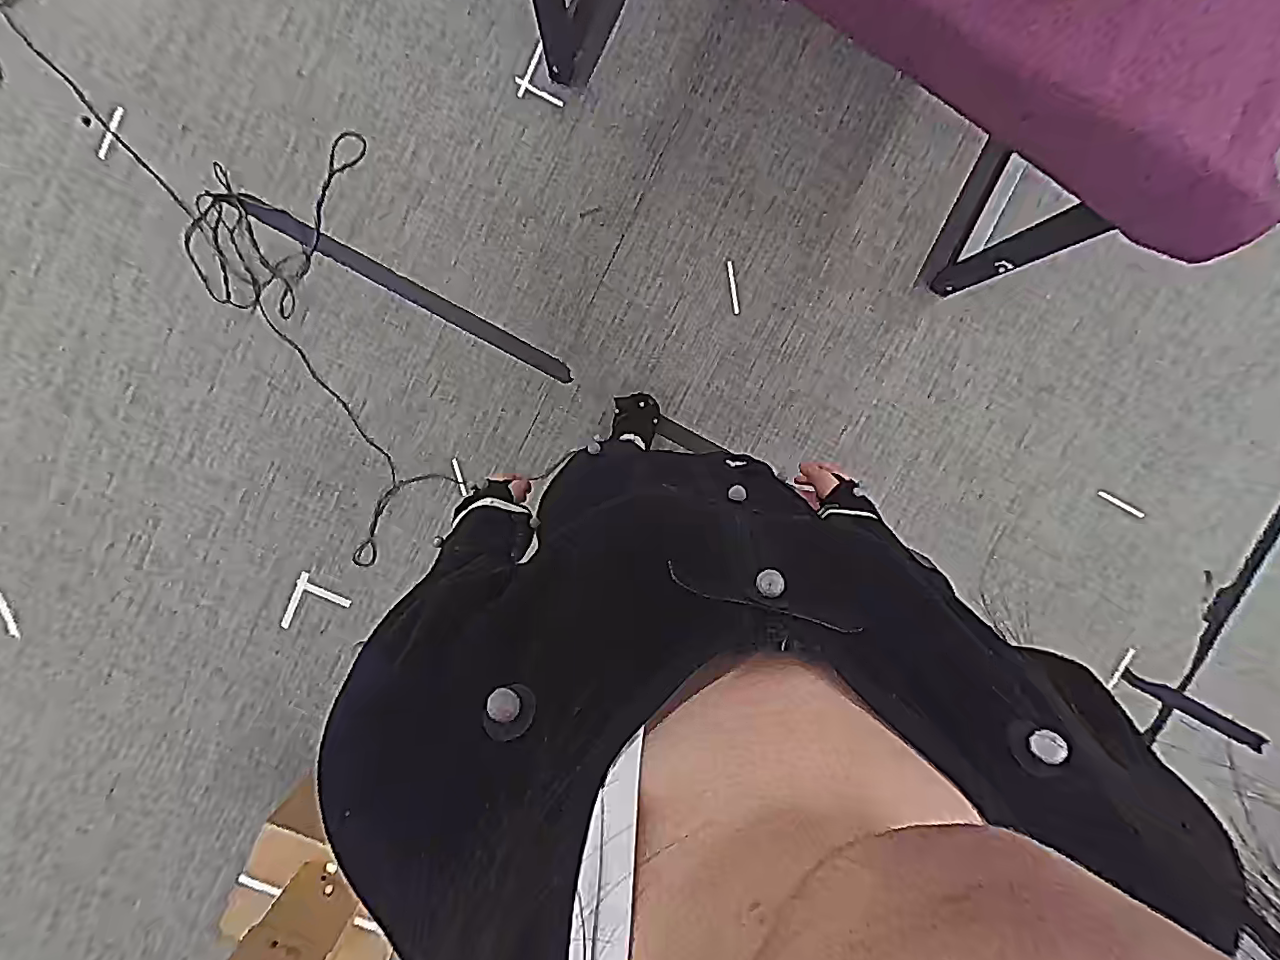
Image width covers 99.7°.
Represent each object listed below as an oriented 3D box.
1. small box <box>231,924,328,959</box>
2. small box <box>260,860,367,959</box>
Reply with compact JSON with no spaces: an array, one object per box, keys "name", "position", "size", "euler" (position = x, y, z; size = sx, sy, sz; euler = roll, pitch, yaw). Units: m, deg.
[{"name":"small box","position":[-0.743,1.023,1.047],"size":[0.168,0.176,0.179],"euler":[22,96,-3]},{"name":"small box","position":[-0.746,1.013,1.209],"size":[0.168,0.176,0.179],"euler":[24,94,-4]}]
